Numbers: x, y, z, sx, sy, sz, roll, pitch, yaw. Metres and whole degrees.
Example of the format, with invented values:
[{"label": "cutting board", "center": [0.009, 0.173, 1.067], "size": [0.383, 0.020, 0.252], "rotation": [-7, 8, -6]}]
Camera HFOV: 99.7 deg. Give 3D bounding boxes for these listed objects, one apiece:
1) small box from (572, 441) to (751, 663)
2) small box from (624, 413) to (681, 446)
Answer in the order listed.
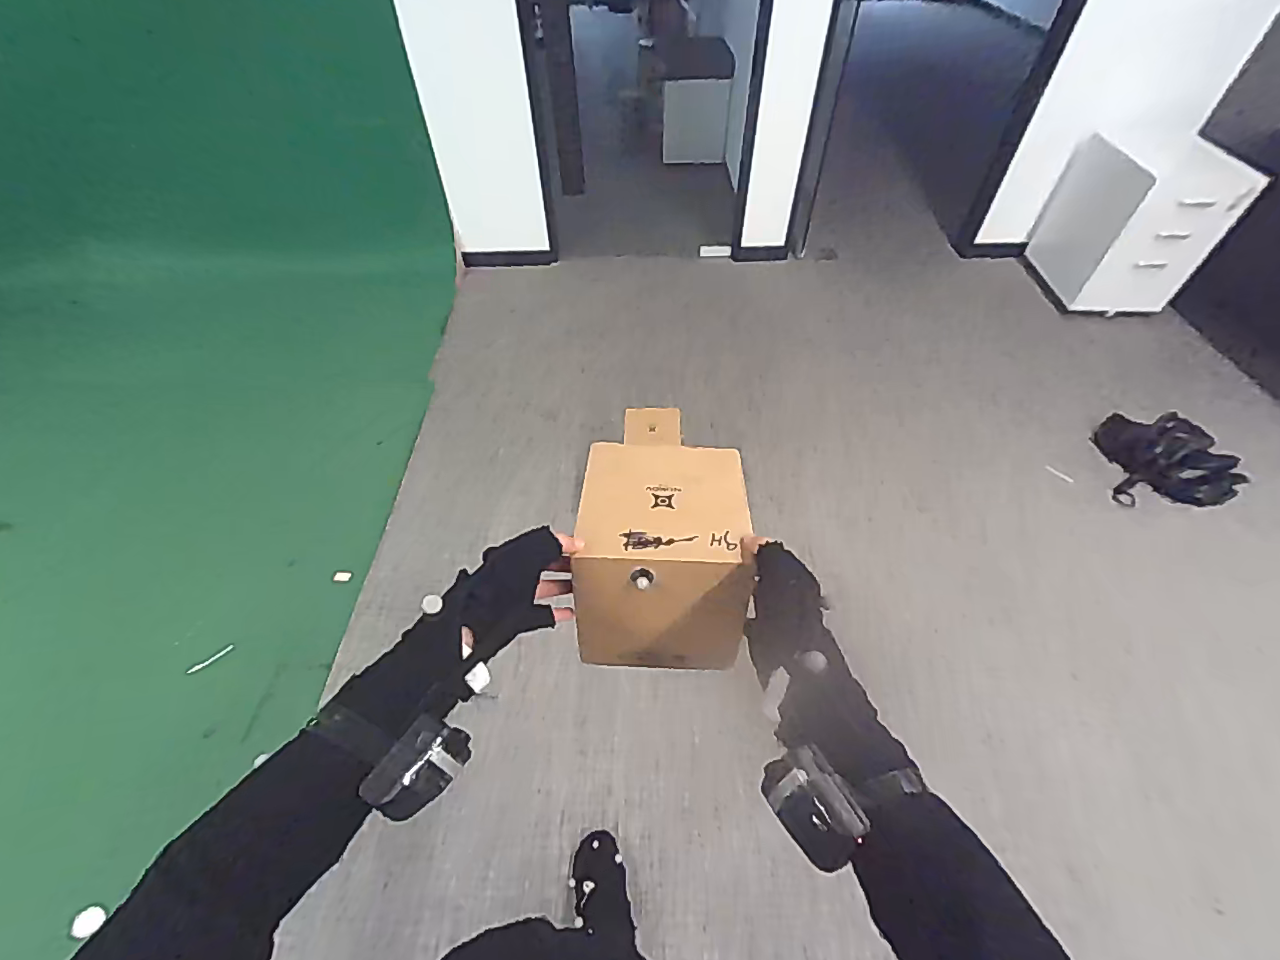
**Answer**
[{"label": "small box", "center": [0.021, 0.075, 0.599], "size": [0.168, 0.176, 0.179], "rotation": [2, 37, 2]}, {"label": "small box", "center": [0.038, -0.086, 1.655], "size": [0.168, 0.176, 0.179], "rotation": [-1, 50, 2]}]
